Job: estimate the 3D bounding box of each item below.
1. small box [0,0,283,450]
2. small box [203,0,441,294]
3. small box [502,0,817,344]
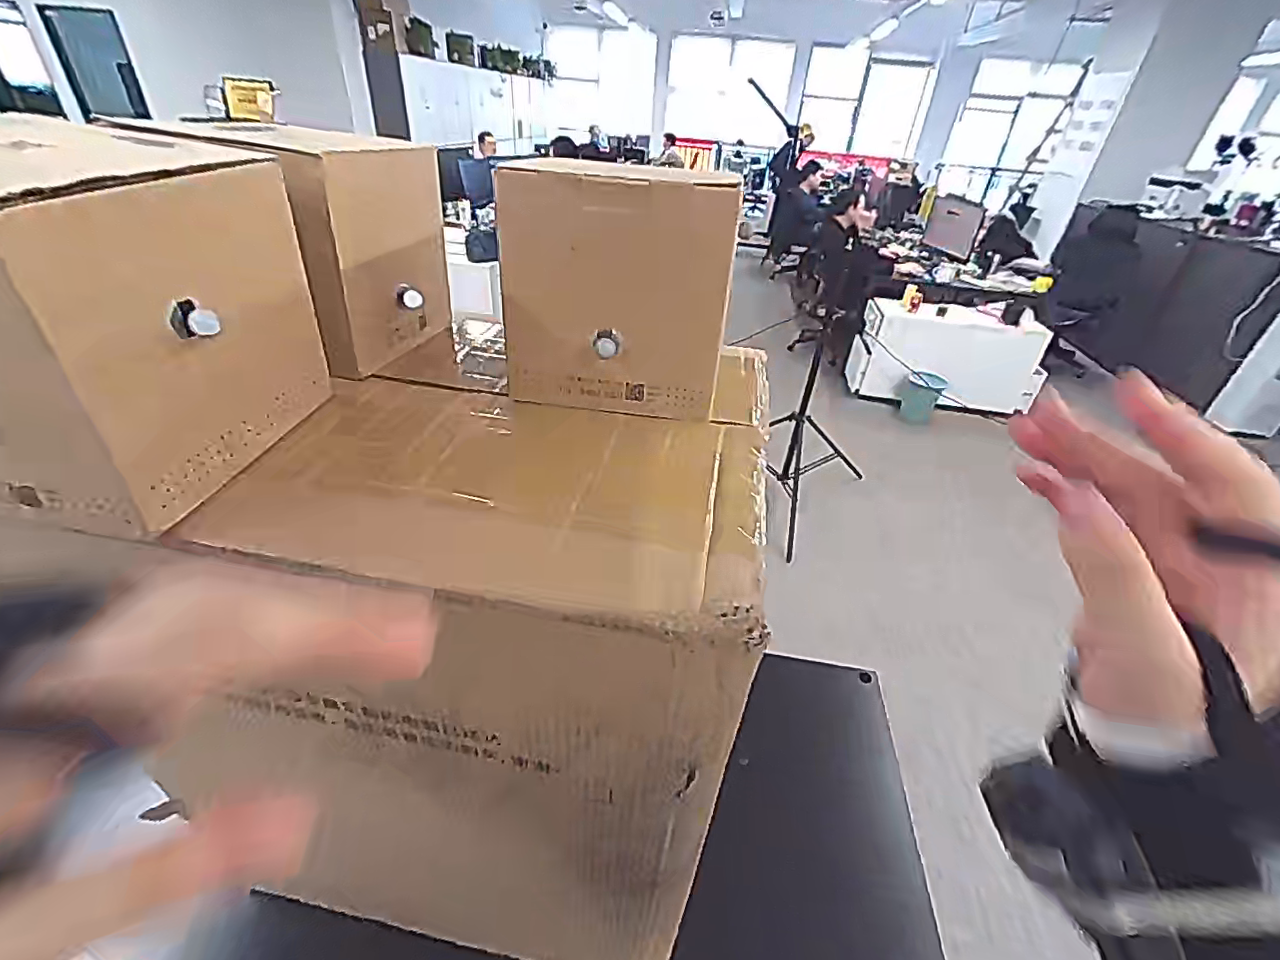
[{"bbox_3d":[-0.296,-0.132,0.231,0.168,0.176,0.179,9,38,0],"label":"small box"},{"bbox_3d":[-0.271,-0.246,0.400,0.179,0.176,0.168,11,34,5],"label":"small box"},{"bbox_3d":[0.013,-0.209,0.383,0.168,0.176,0.179,7,32,5],"label":"small box"}]
